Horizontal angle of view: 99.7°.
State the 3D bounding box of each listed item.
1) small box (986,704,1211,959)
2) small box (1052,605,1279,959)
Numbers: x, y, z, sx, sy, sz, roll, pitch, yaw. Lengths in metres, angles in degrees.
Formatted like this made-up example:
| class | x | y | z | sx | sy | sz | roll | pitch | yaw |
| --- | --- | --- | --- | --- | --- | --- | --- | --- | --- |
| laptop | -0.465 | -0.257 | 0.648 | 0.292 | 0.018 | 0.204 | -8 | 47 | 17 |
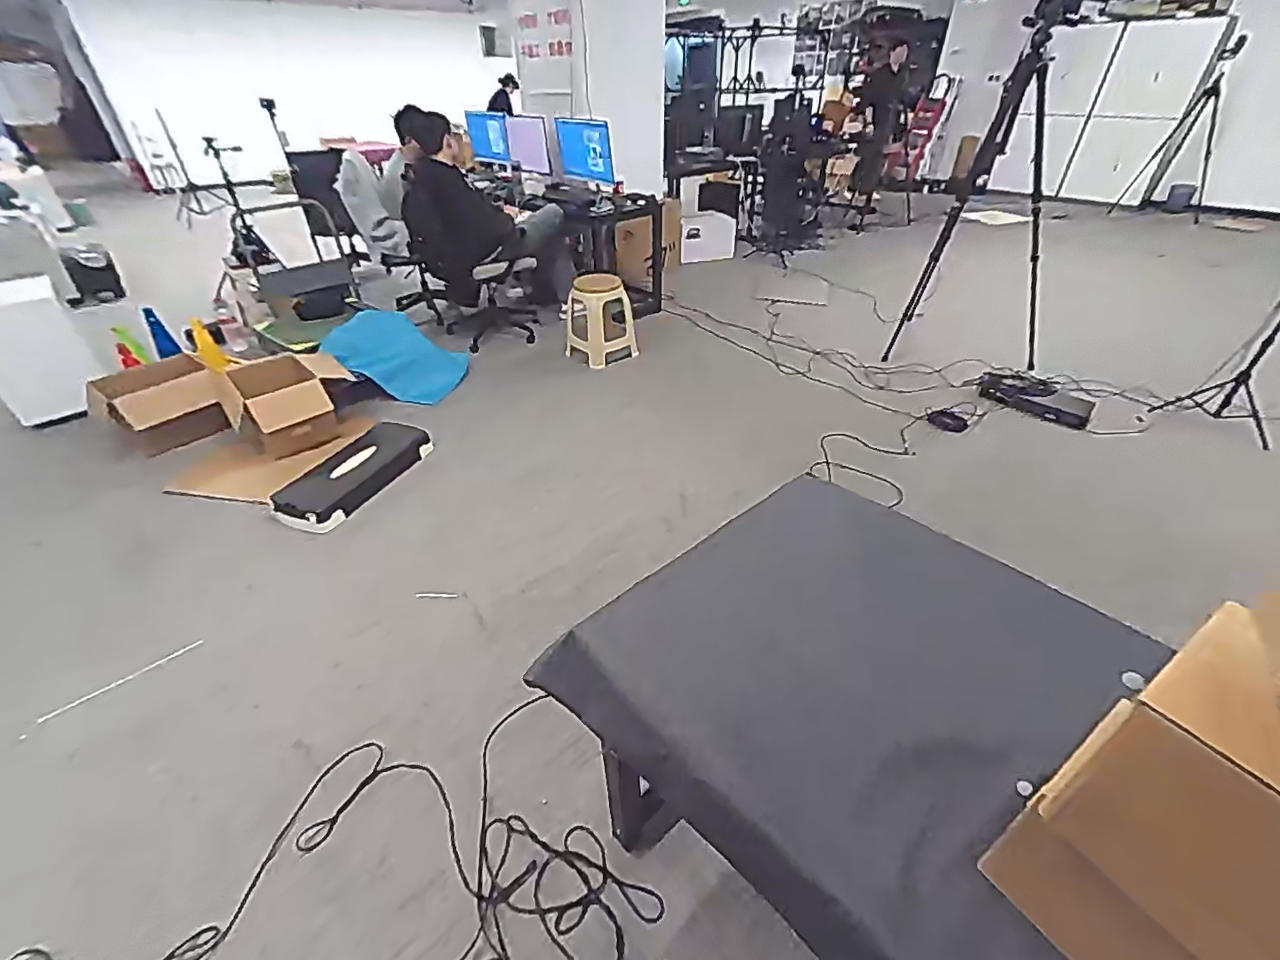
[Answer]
| class | x | y | z | sx | sy | sz | roll | pitch | yaw |
| --- | --- | --- | --- | --- | --- | --- | --- | --- | --- |
| small box | 0.468 | 0.354 | 0.493 | 0.168 | 0.176 | 0.179 | -21 | 40 | -27 |
| small box | 0.451 | 0.231 | 0.386 | 0.168 | 0.176 | 0.179 | -20 | 41 | -26 |
